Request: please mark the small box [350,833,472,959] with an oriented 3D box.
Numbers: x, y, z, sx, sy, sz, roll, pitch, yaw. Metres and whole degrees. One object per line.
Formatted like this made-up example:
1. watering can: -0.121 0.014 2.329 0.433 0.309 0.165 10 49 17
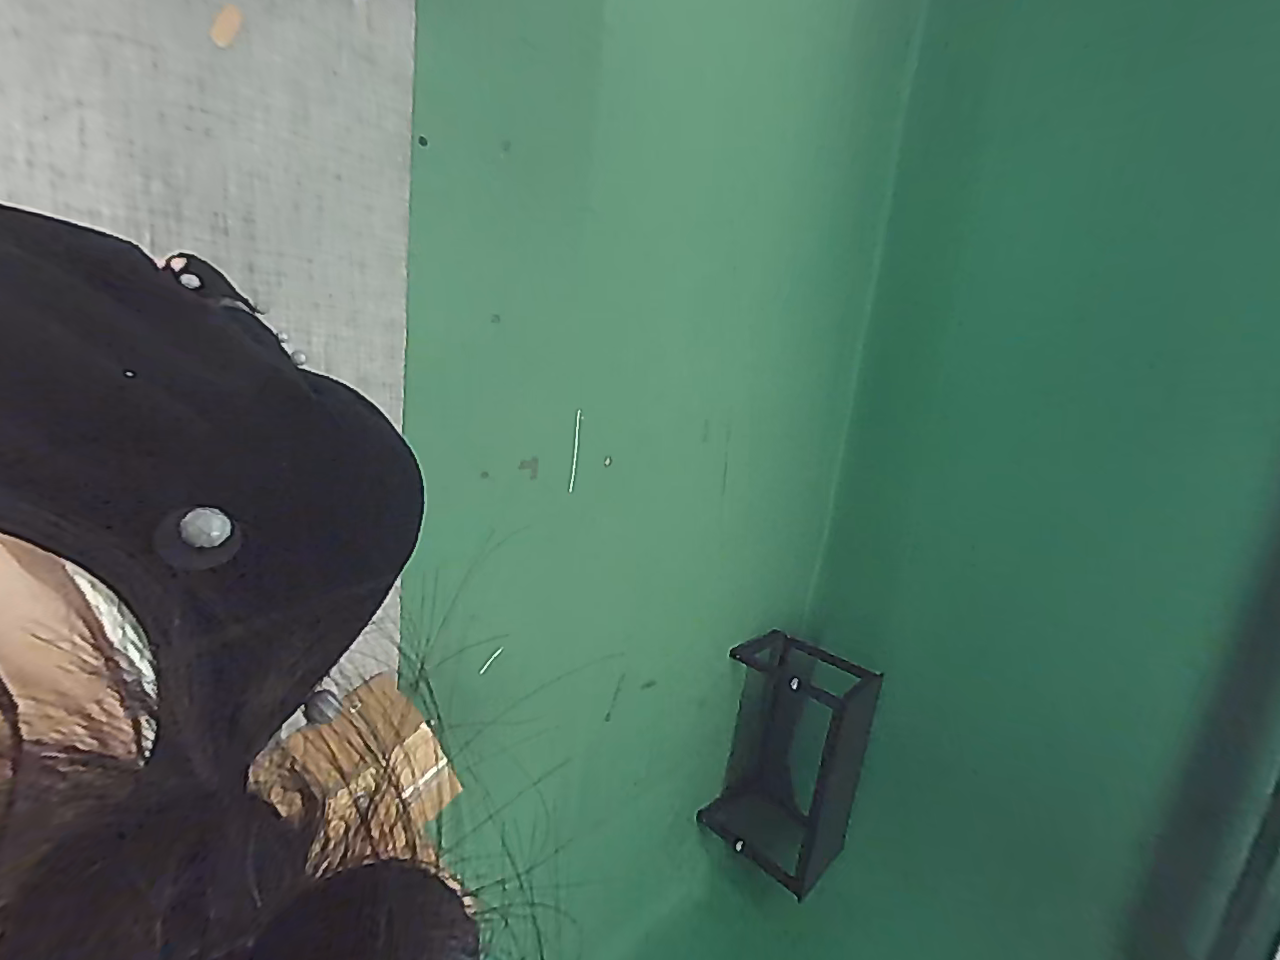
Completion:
1. small box: -0.524 0.962 1.240 0.168 0.176 0.179 -39 130 -34
